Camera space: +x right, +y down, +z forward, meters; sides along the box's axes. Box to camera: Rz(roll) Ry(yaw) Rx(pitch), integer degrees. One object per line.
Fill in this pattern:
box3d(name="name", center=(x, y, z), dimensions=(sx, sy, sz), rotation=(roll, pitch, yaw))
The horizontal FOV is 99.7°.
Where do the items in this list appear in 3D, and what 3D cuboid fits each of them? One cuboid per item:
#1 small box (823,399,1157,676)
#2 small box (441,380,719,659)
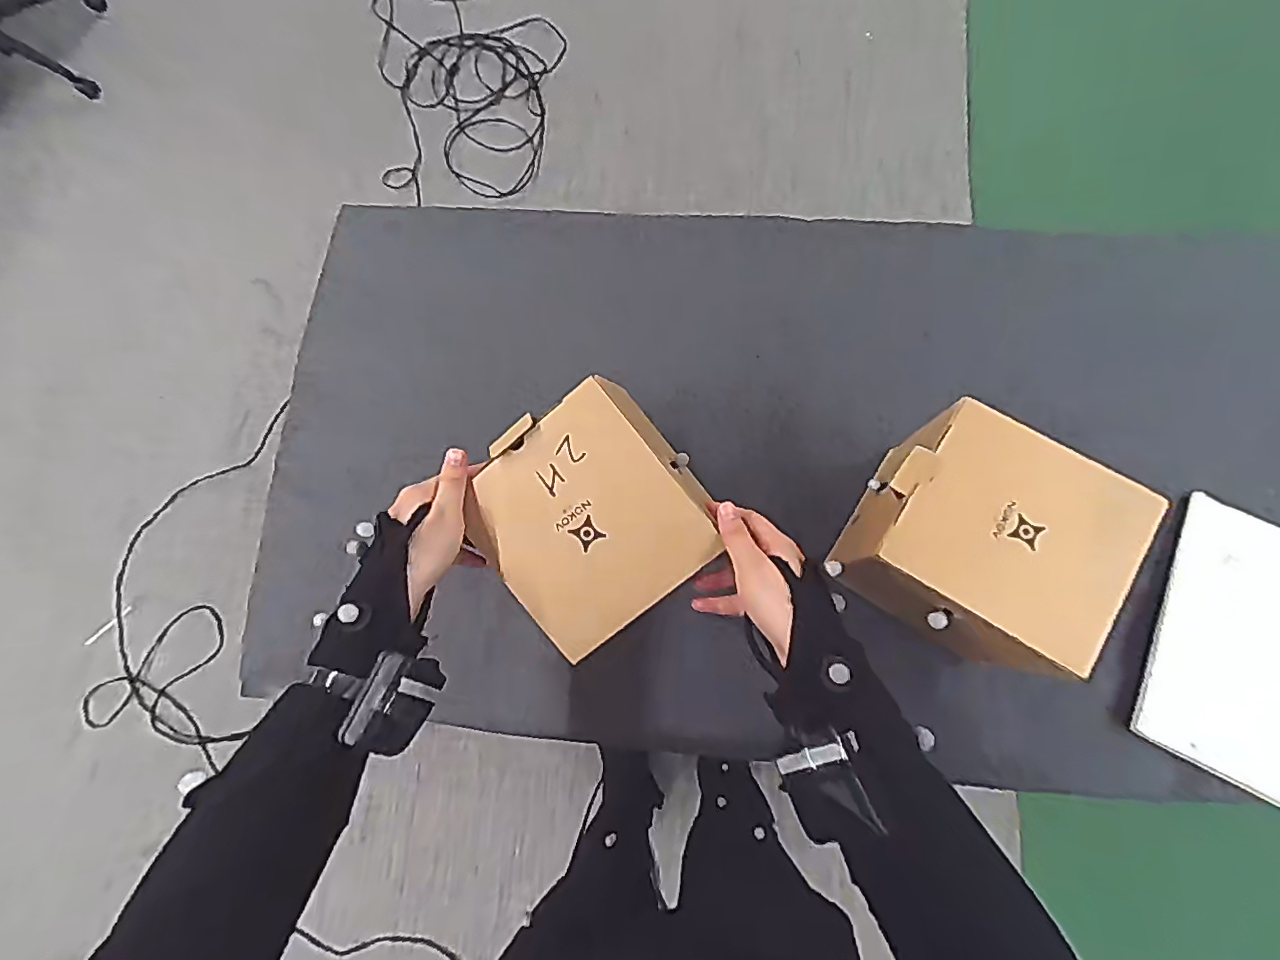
box3d(name="small box", center=(0.306, 0.057, 0.515), dimensions=(0.179, 0.176, 0.168), rotation=(32, 81, 11))
box3d(name="small box", center=(-0.041, 0.026, 0.514), dimensions=(0.168, 0.176, 0.179), rotation=(-39, 90, 8))
